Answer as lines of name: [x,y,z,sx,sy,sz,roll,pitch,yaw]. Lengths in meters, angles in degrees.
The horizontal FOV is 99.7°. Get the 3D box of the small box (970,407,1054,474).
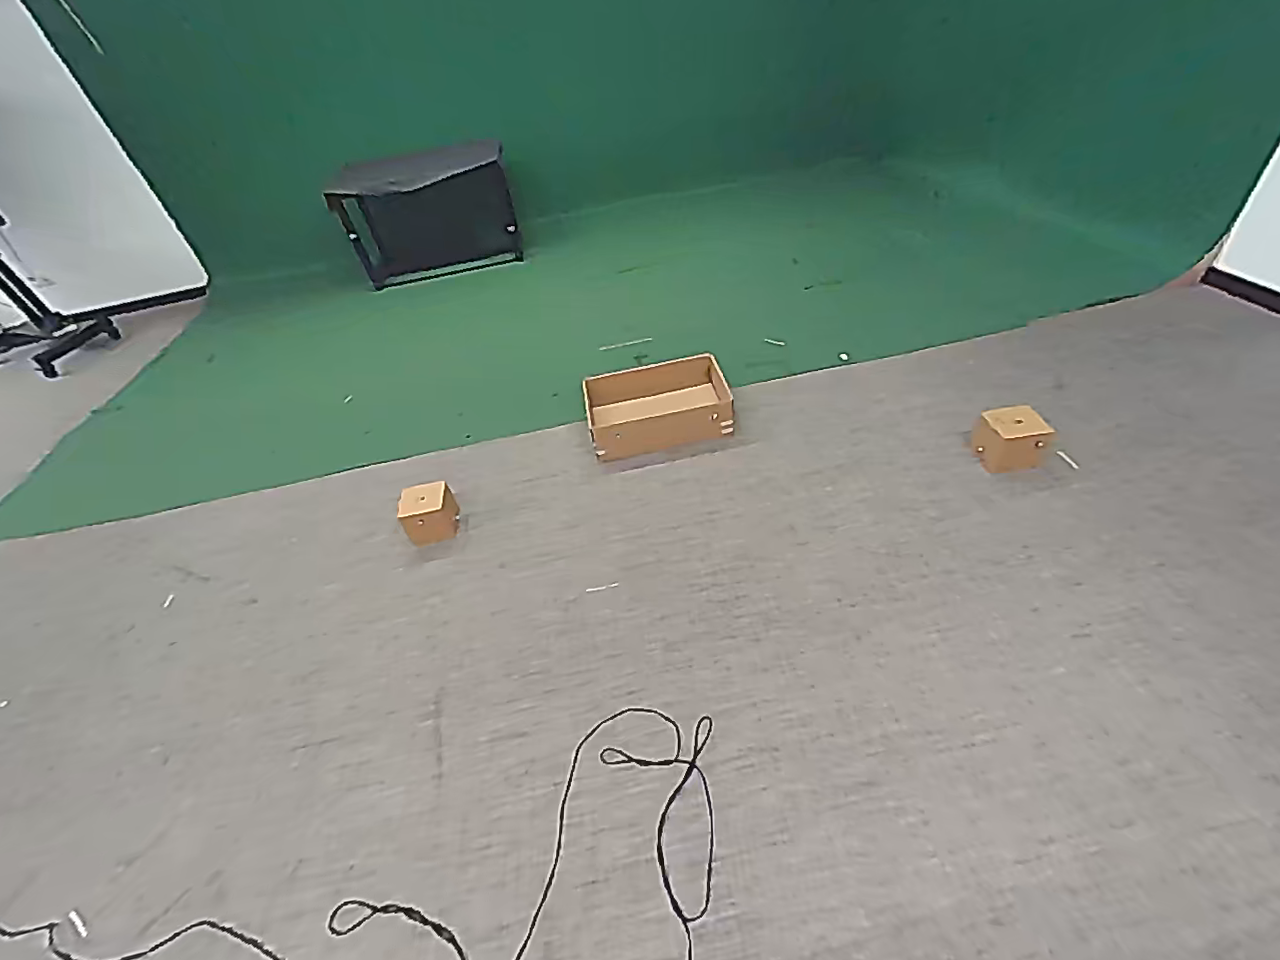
small box: [1.354,-0.143,1.984,0.179,0.176,0.168,-8,42,3]

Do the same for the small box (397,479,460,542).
small box: [-0.833,0.126,2.144,0.179,0.176,0.168,-12,44,-3]
